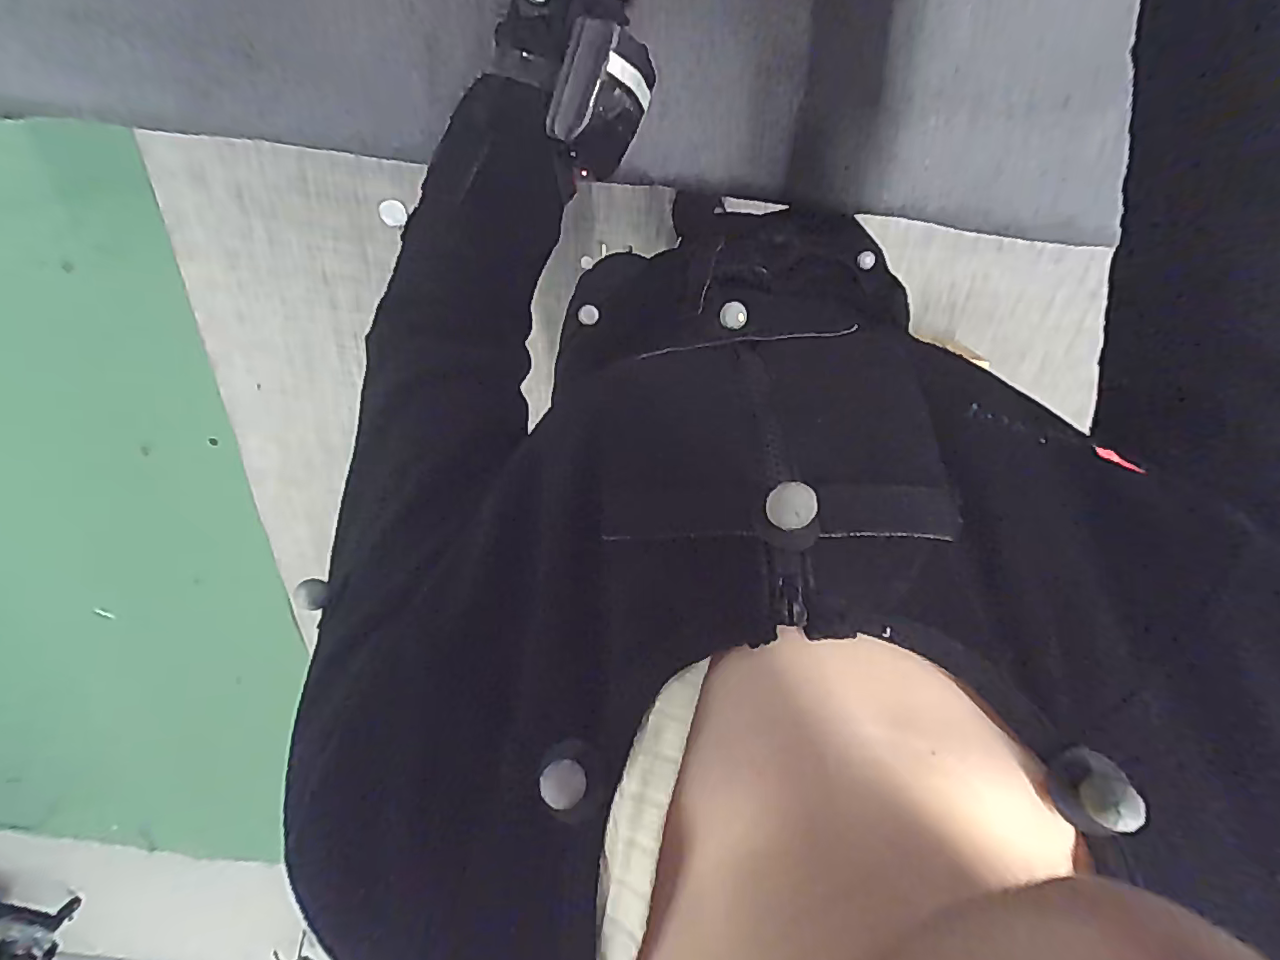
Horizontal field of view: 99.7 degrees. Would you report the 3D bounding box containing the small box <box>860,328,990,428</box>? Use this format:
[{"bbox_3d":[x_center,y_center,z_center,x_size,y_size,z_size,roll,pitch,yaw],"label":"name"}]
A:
[{"bbox_3d":[0.624,-0.232,1.208,0.179,0.176,0.168,7,120,0],"label":"small box"}]
